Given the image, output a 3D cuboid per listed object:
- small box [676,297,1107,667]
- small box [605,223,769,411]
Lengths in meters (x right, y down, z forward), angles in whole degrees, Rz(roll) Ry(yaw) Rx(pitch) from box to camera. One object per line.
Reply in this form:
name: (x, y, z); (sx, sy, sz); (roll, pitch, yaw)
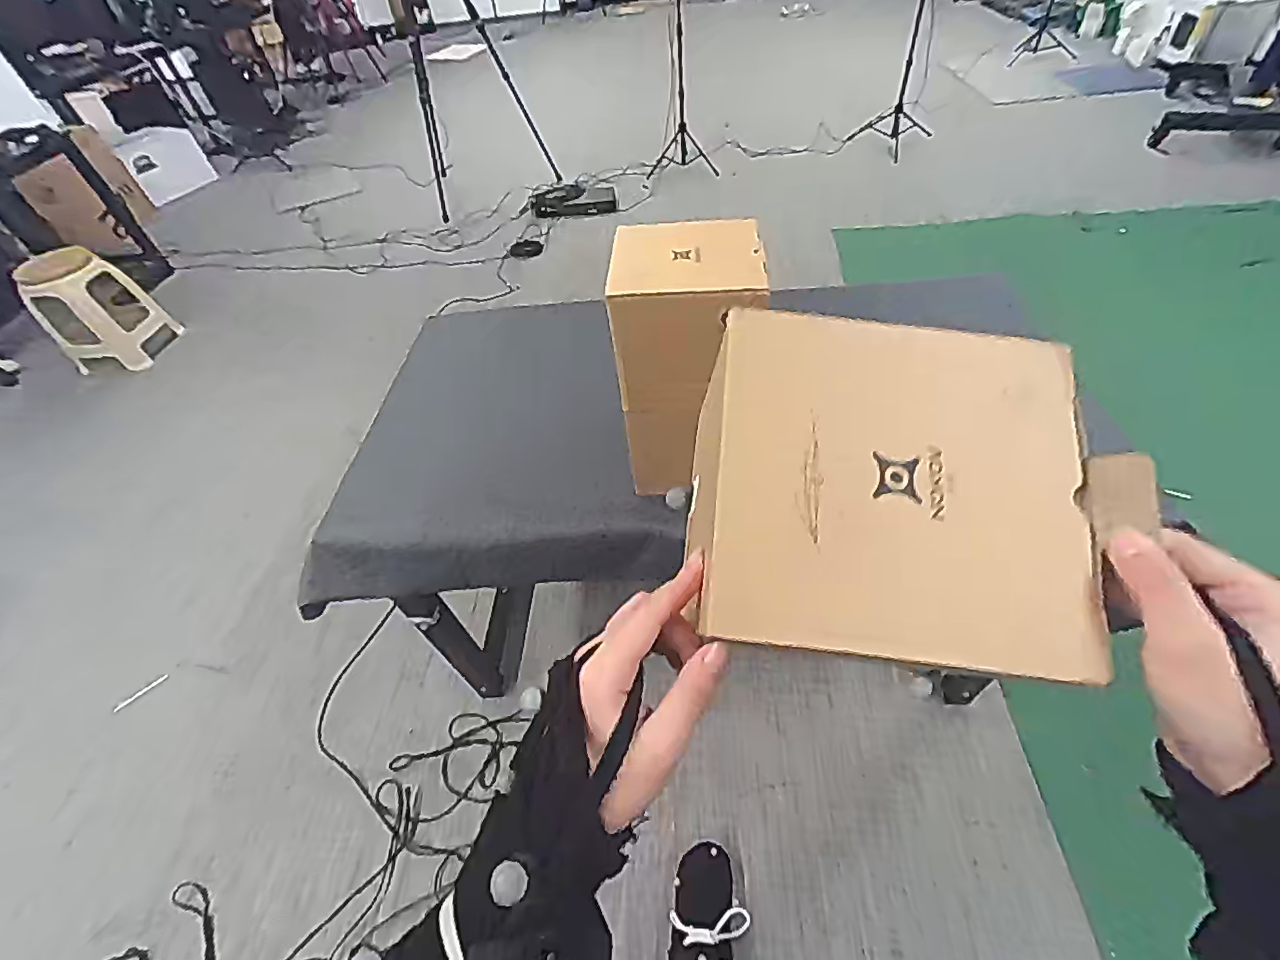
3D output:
small box: (0.121, 0.015, 0.330); (0.179, 0.176, 0.168); (6, 73, 2)
small box: (0.060, -0.198, 0.675); (0.179, 0.176, 0.168); (0, 49, 5)
